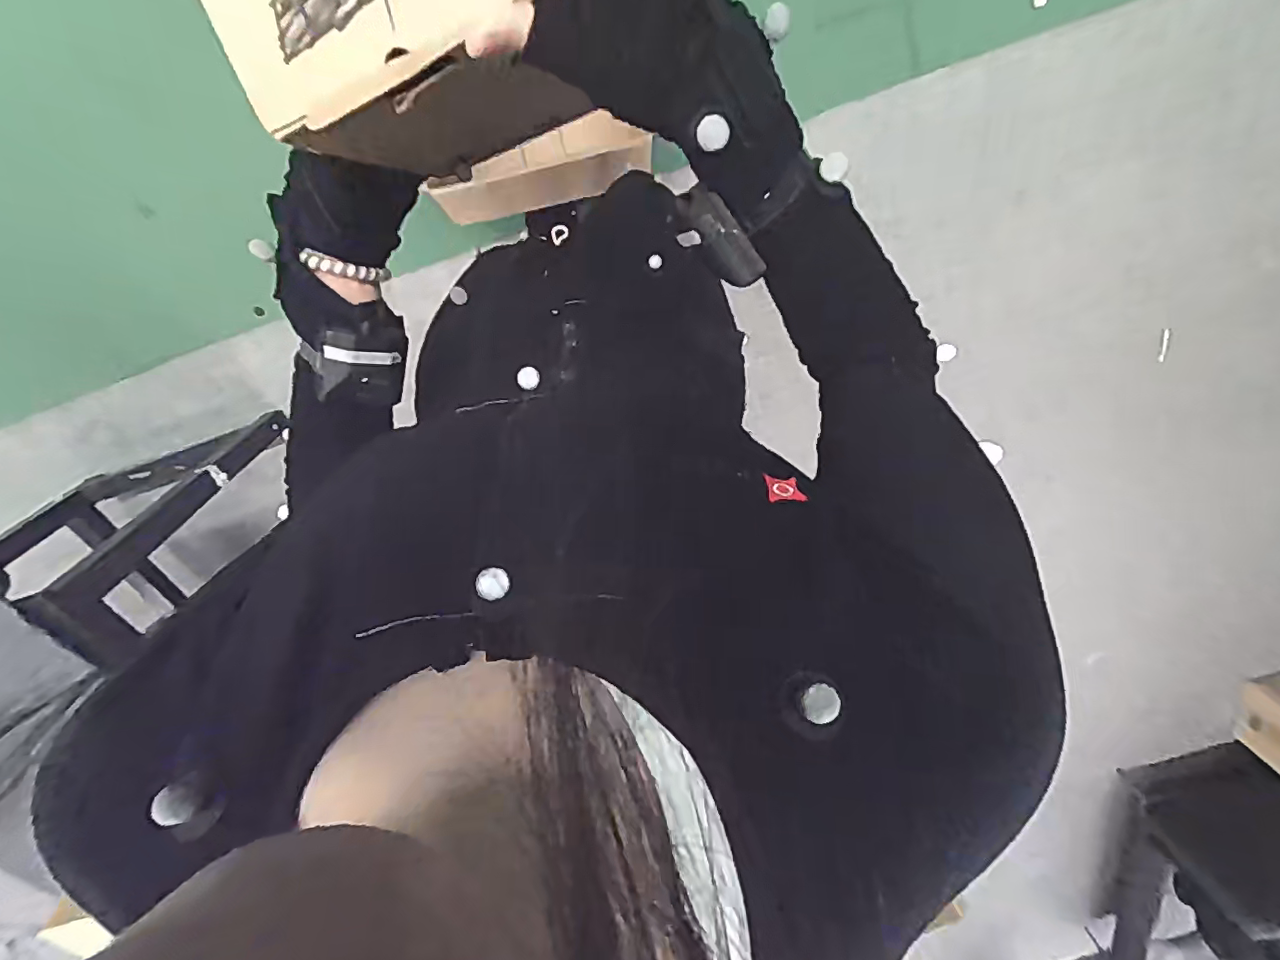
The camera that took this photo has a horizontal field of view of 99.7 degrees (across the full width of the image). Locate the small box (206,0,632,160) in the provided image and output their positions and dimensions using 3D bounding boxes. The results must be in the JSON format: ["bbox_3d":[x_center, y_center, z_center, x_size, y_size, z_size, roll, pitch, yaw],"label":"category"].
[{"bbox_3d":[-0.115,-0.293,0.288,0.168,0.176,0.179,-13,110,16],"label":"small box"}]

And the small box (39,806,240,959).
[{"bbox_3d":[-0.908,0.749,1.004,0.179,0.176,0.168,-20,120,4],"label":"small box"}]
